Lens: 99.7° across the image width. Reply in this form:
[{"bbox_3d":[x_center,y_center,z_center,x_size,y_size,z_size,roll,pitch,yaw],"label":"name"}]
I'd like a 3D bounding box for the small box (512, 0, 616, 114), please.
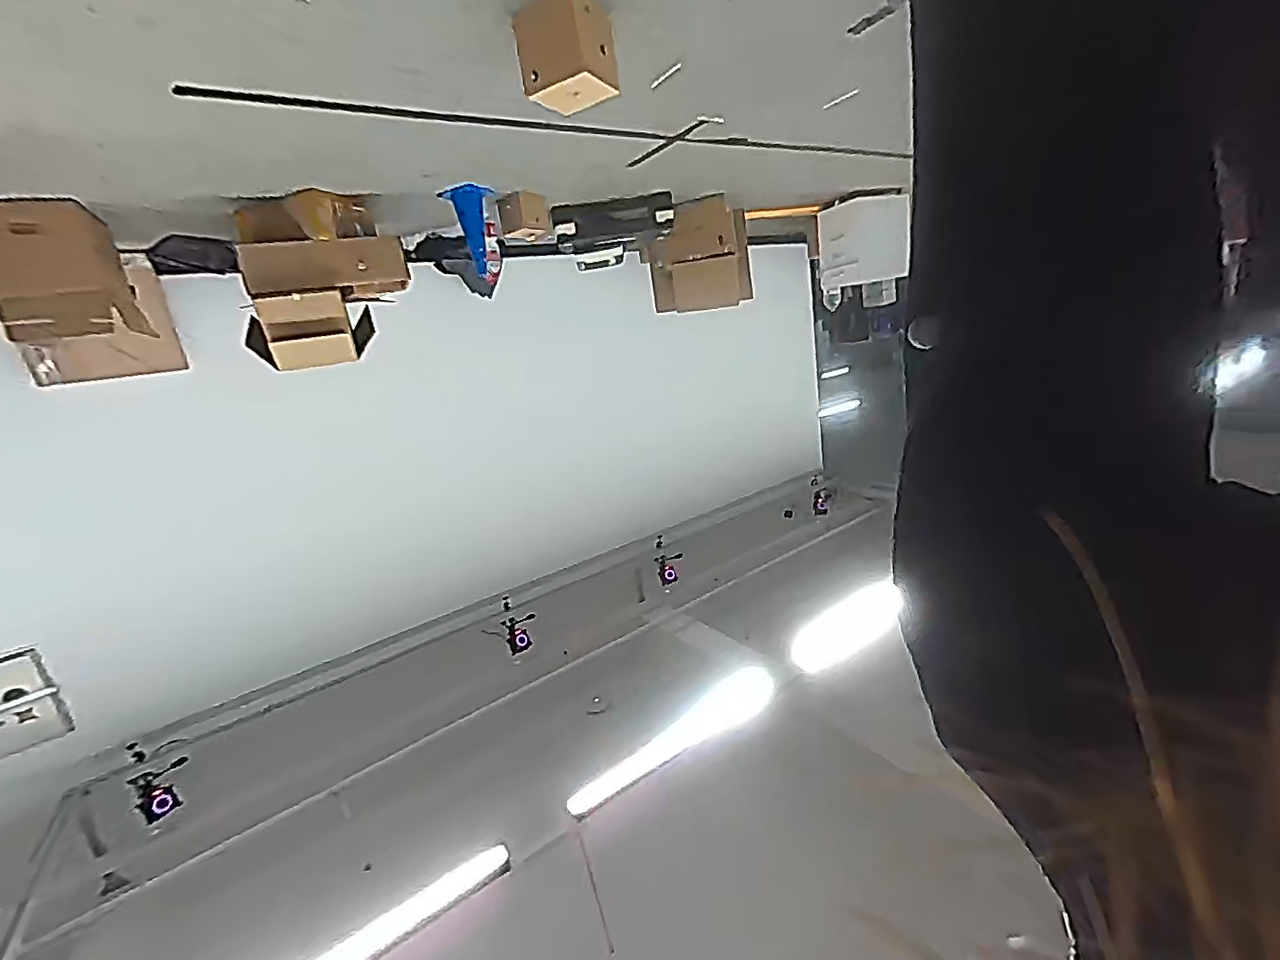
[{"bbox_3d":[-0.181,-1.015,1.288,0.179,0.176,0.168,0,-163,29],"label":"small box"}]
